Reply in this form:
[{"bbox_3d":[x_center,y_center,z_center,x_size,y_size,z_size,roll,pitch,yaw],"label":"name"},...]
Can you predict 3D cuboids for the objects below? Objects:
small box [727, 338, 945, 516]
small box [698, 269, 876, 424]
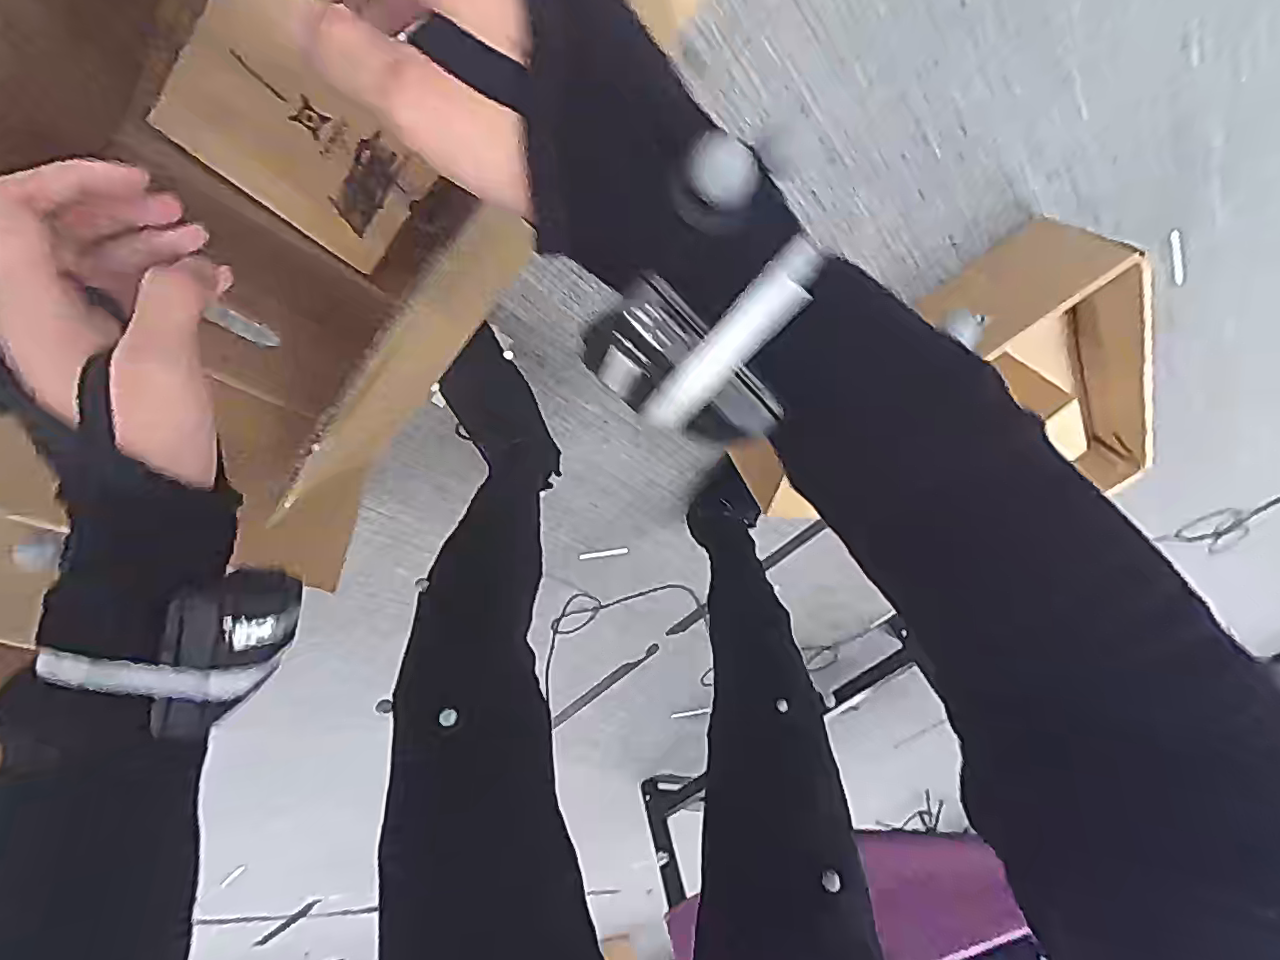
[{"bbox_3d":[0.234,-0.070,0.701,0.179,0.176,0.168,0,130,-19],"label":"small box"},{"bbox_3d":[0.205,-0.186,0.815,0.168,0.176,0.179,8,127,-24],"label":"small box"}]
